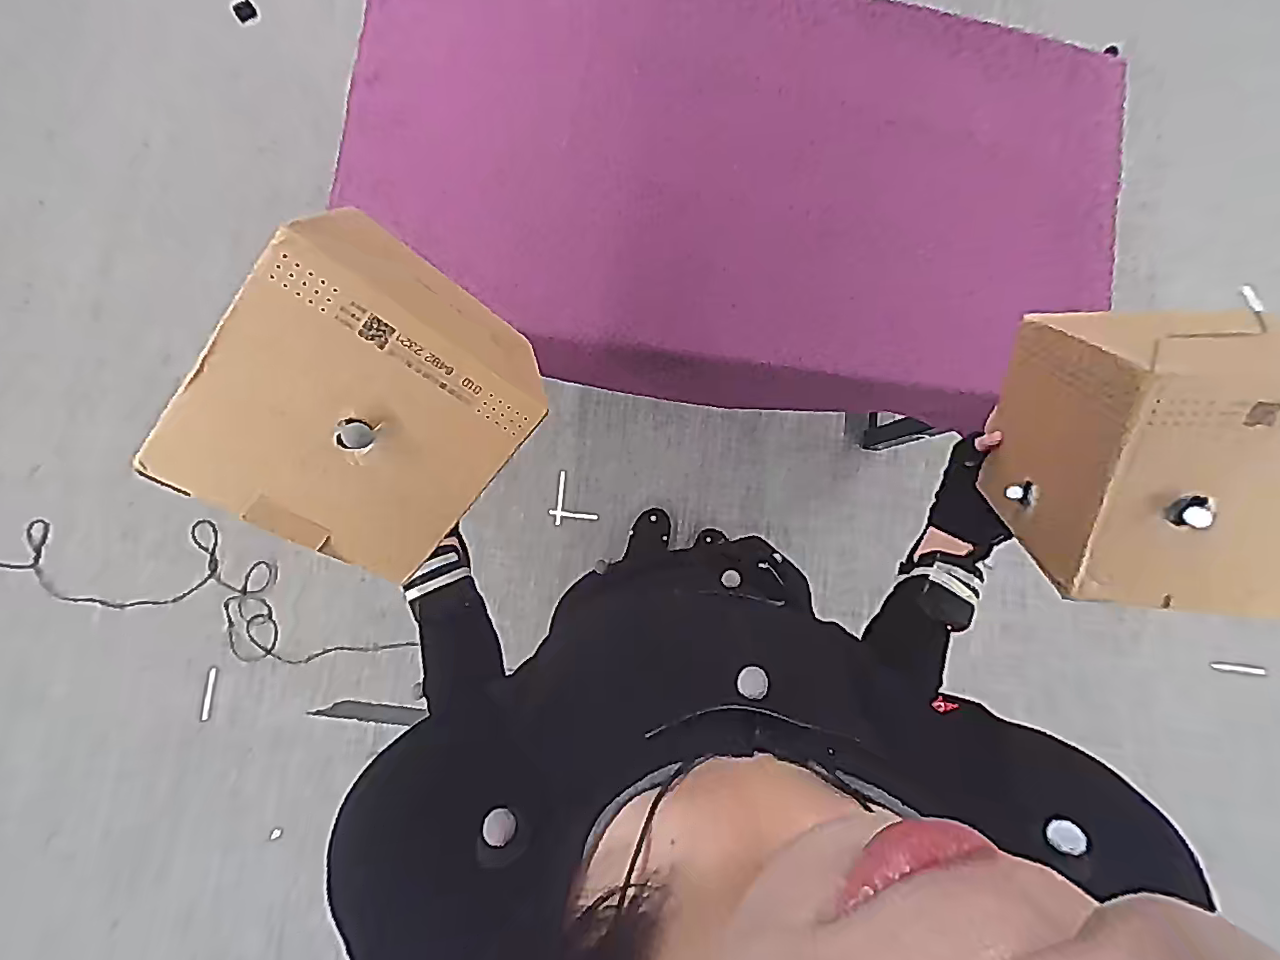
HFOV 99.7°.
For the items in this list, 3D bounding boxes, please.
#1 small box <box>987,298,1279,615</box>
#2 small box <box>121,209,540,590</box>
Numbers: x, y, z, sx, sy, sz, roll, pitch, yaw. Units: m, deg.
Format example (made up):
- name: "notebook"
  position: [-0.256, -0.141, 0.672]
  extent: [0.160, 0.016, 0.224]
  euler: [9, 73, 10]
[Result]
- name: "small box"
  position: [0.383, -0.027, 0.383]
  extent: [0.168, 0.179, 0.176]
  euler: [4, 117, 11]
- name: "small box"
  position: [-0.188, -0.063, 0.378]
  extent: [0.168, 0.179, 0.176]
  euler: [35, 103, -29]
